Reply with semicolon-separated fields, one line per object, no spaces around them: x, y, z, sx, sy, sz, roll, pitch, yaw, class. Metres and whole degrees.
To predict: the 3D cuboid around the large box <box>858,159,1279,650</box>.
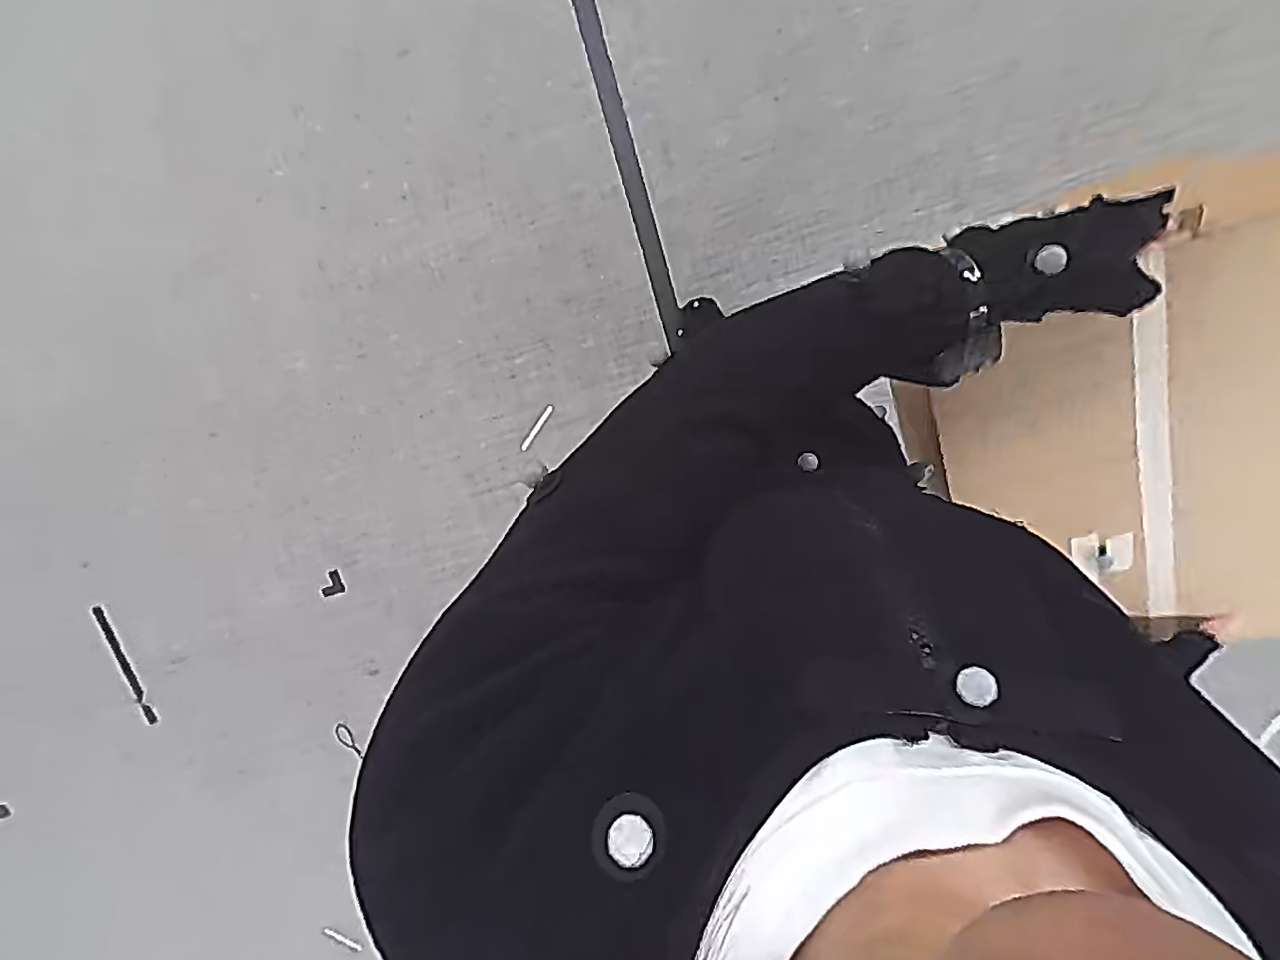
0.473;-0.082;0.614;0.320;0.320;0.408;-16;115;21;large box
